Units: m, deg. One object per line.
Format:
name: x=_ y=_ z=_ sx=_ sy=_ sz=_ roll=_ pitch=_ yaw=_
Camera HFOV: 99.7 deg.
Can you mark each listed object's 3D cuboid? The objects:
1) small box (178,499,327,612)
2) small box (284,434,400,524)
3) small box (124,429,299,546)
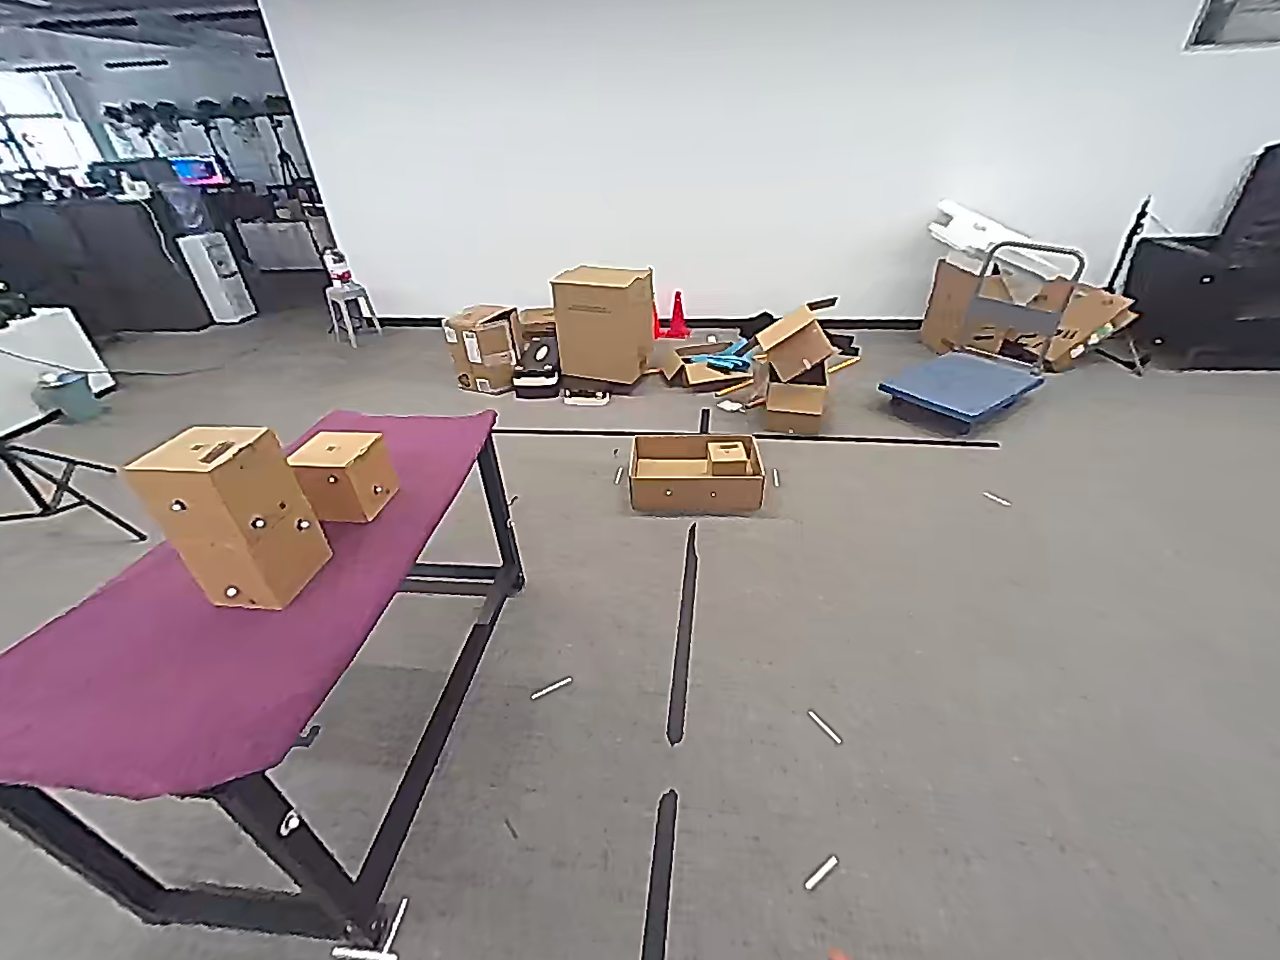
small box: x=-0.797 y=0.152 z=1.140 sx=0.168 sy=0.176 sz=0.179 roll=2 pitch=34 yaw=8
small box: x=-0.747 y=-0.003 z=1.370 sx=0.179 sy=0.176 sz=0.168 roll=2 pitch=34 yaw=8
small box: x=-0.812 y=0.015 z=1.050 sx=0.179 sy=0.176 sz=0.168 roll=1 pitch=33 yaw=7
